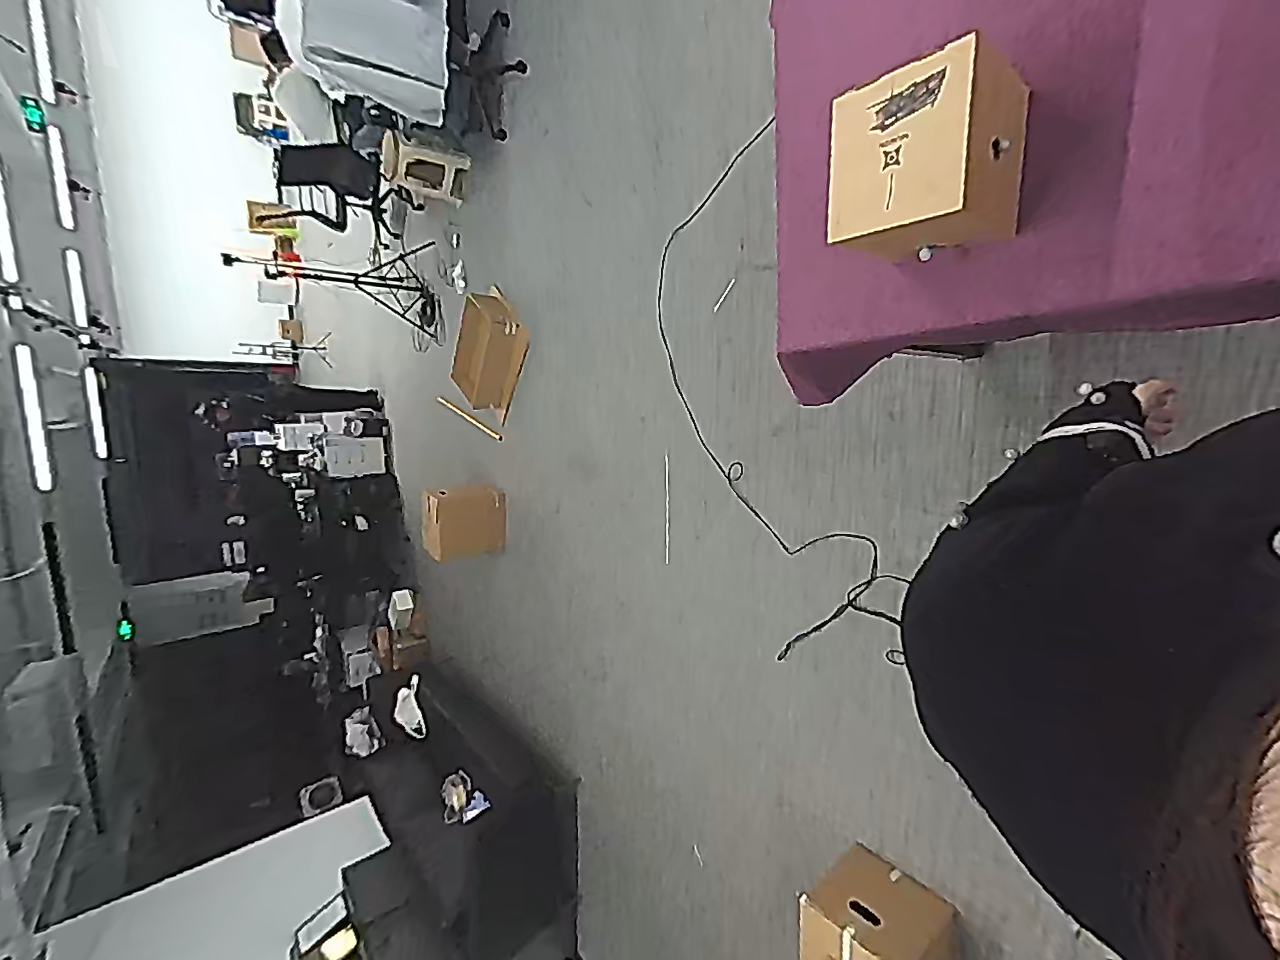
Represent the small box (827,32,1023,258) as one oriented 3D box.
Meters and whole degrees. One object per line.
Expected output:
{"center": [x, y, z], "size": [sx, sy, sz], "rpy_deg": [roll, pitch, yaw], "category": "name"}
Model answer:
{"center": [0.358, -0.397, 0.681], "size": [0.168, 0.176, 0.179], "rpy_deg": [10, 104, 50], "category": "small box"}
